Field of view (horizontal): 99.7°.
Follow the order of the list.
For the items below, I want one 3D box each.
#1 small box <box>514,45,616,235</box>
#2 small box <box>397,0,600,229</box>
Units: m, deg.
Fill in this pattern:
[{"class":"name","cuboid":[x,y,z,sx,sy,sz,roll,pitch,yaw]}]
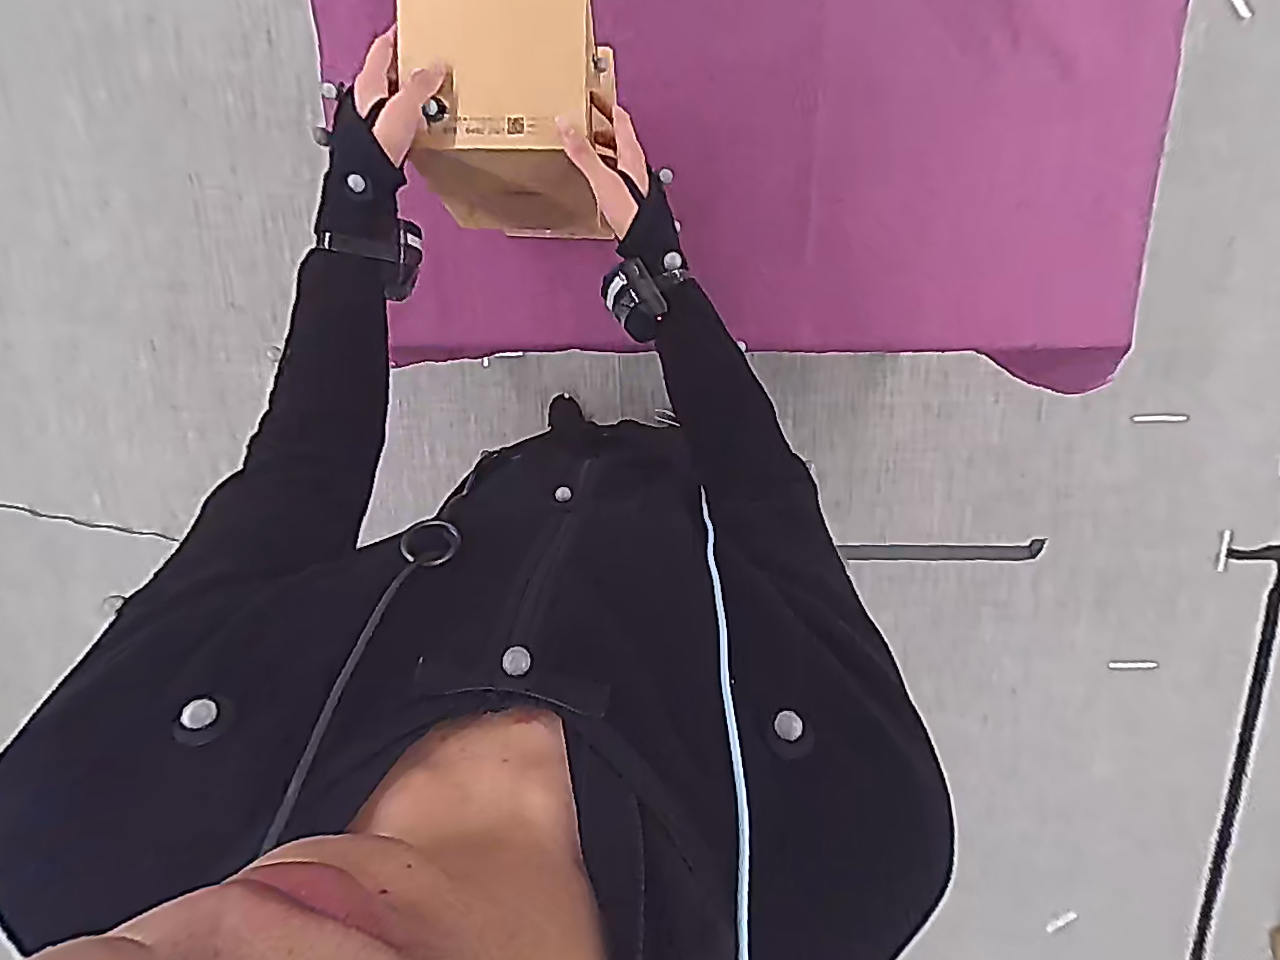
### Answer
[{"class":"small box","cuboid":[-0.118,-0.438,0.721,0.168,0.176,0.179,2,101,-1]},{"class":"small box","cuboid":[-0.128,-0.374,0.549,0.168,0.179,0.176,1,93,0]}]
